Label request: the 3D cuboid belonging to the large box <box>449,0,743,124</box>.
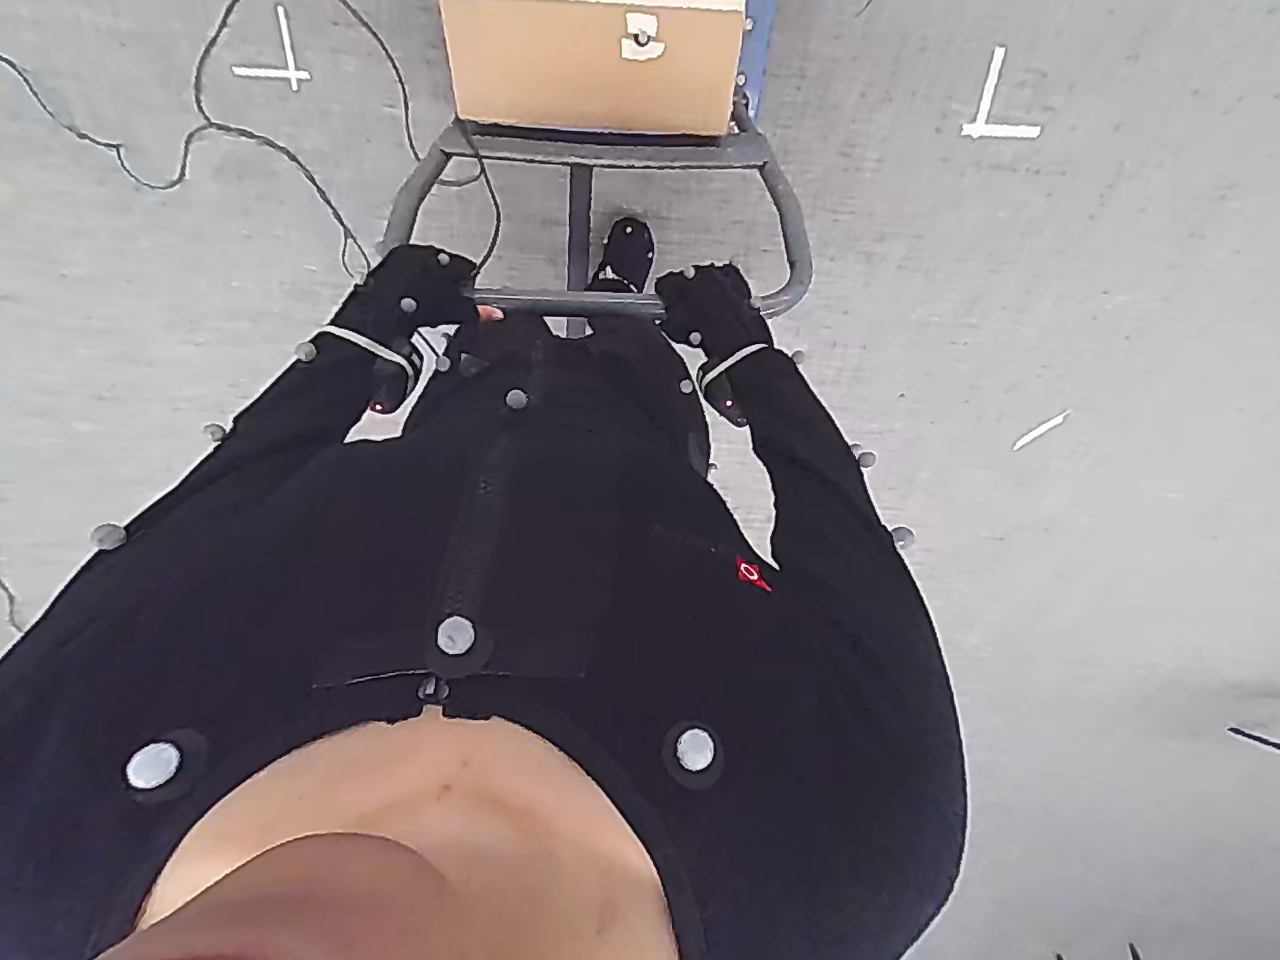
[{"bbox_3d":[-0.064,-0.760,0.823,0.408,0.320,0.320,1,135,-3],"label":"large box"}]
